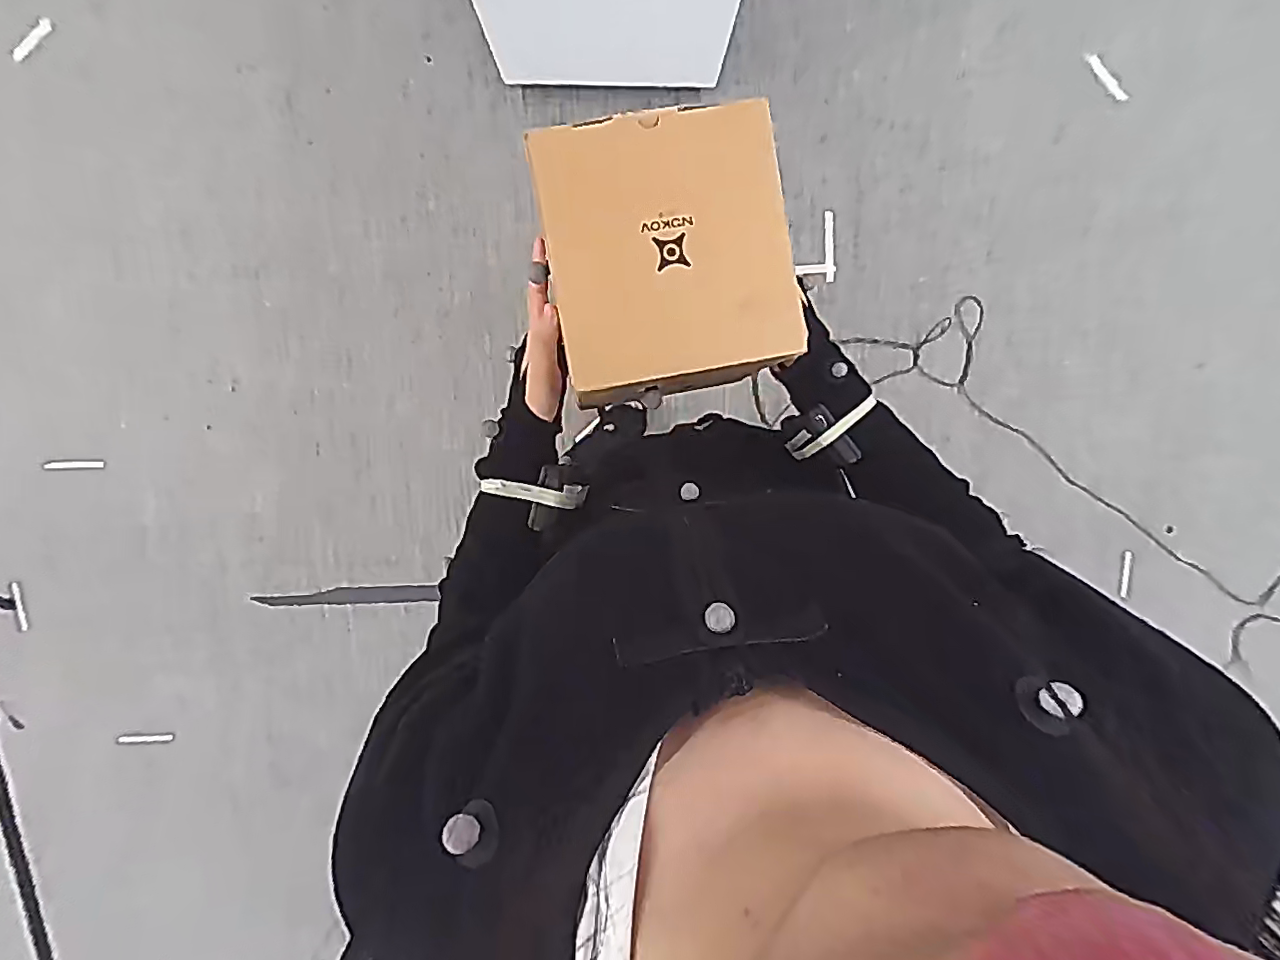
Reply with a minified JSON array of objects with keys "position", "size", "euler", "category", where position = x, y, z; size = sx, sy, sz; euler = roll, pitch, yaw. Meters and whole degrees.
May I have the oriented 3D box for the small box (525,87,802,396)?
[{"position":[0.013,-0.169,0.443],"size":[0.168,0.176,0.179],"euler":[-11,93,-4],"category":"small box"}]
